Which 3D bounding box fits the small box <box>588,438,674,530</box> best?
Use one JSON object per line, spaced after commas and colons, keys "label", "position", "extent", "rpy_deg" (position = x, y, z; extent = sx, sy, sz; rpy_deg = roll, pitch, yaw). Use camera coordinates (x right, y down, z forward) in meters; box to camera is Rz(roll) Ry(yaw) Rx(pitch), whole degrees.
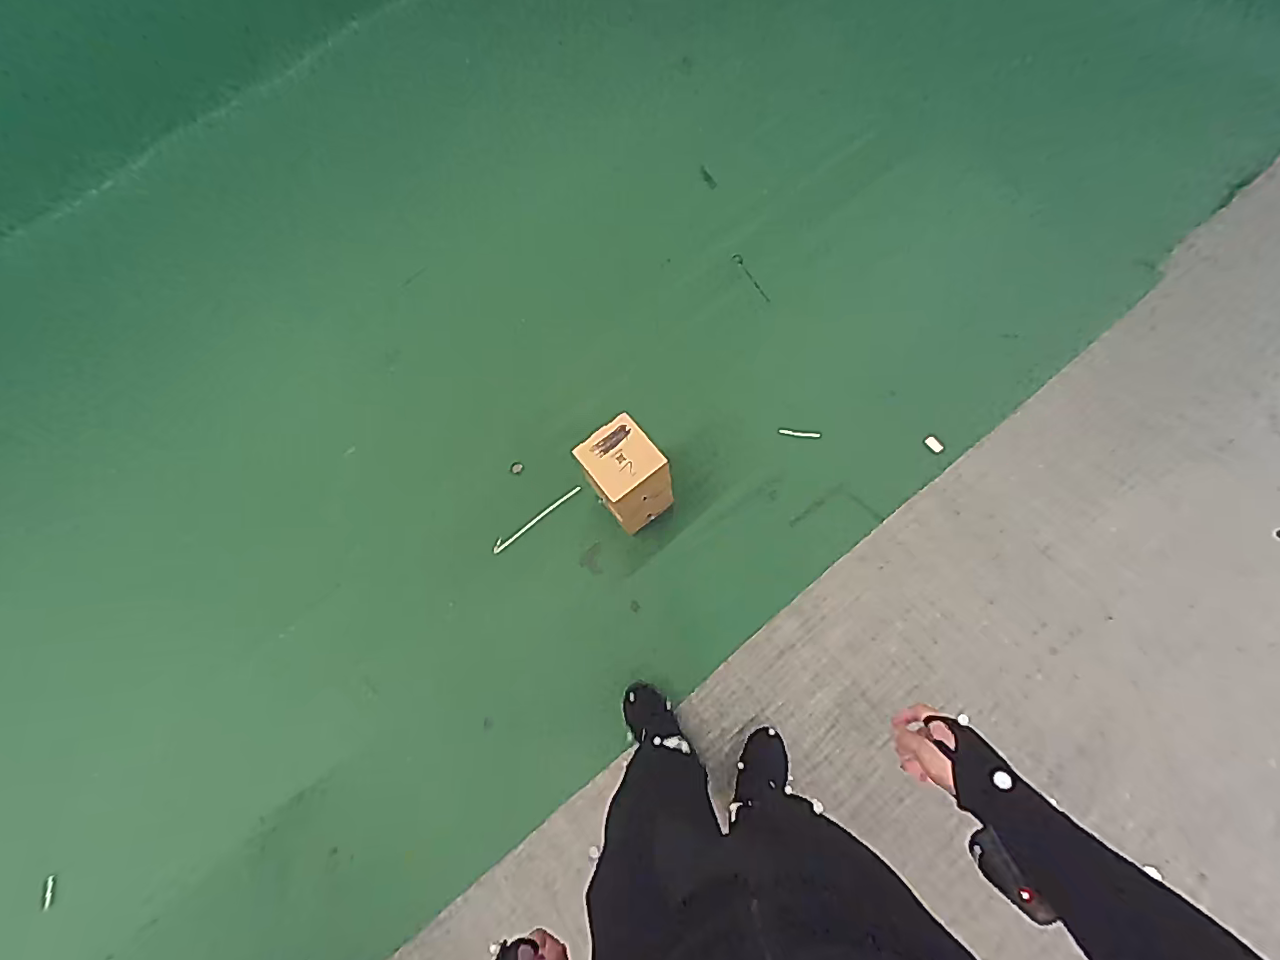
{"label": "small box", "position": [-0.020, 0.018, 1.524], "extent": [0.168, 0.176, 0.179], "rpy_deg": [-37, 71, -6]}
